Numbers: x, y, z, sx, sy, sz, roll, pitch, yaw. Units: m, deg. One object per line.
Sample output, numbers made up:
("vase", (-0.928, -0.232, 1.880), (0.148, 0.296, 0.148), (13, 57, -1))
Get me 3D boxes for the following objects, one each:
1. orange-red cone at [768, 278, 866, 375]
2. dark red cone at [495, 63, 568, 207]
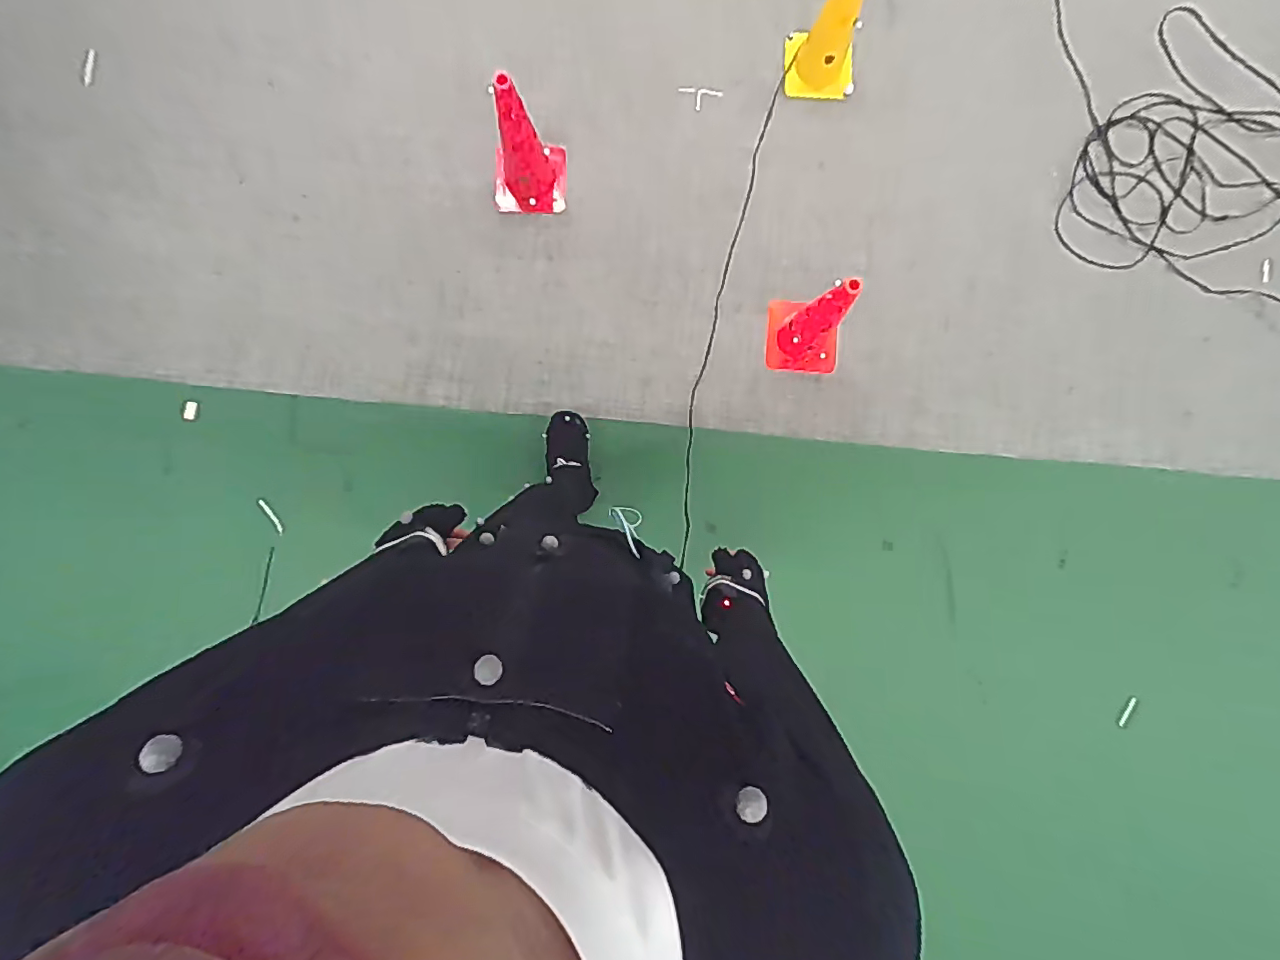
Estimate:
("orange-red cone", (0.470, -0.414, 1.359), (0.198, 0.360, 0.199), (6, 85, -2))
("dark red cone", (-0.299, -0.869, 1.350), (0.202, 0.394, 0.201), (0, 87, -1))
